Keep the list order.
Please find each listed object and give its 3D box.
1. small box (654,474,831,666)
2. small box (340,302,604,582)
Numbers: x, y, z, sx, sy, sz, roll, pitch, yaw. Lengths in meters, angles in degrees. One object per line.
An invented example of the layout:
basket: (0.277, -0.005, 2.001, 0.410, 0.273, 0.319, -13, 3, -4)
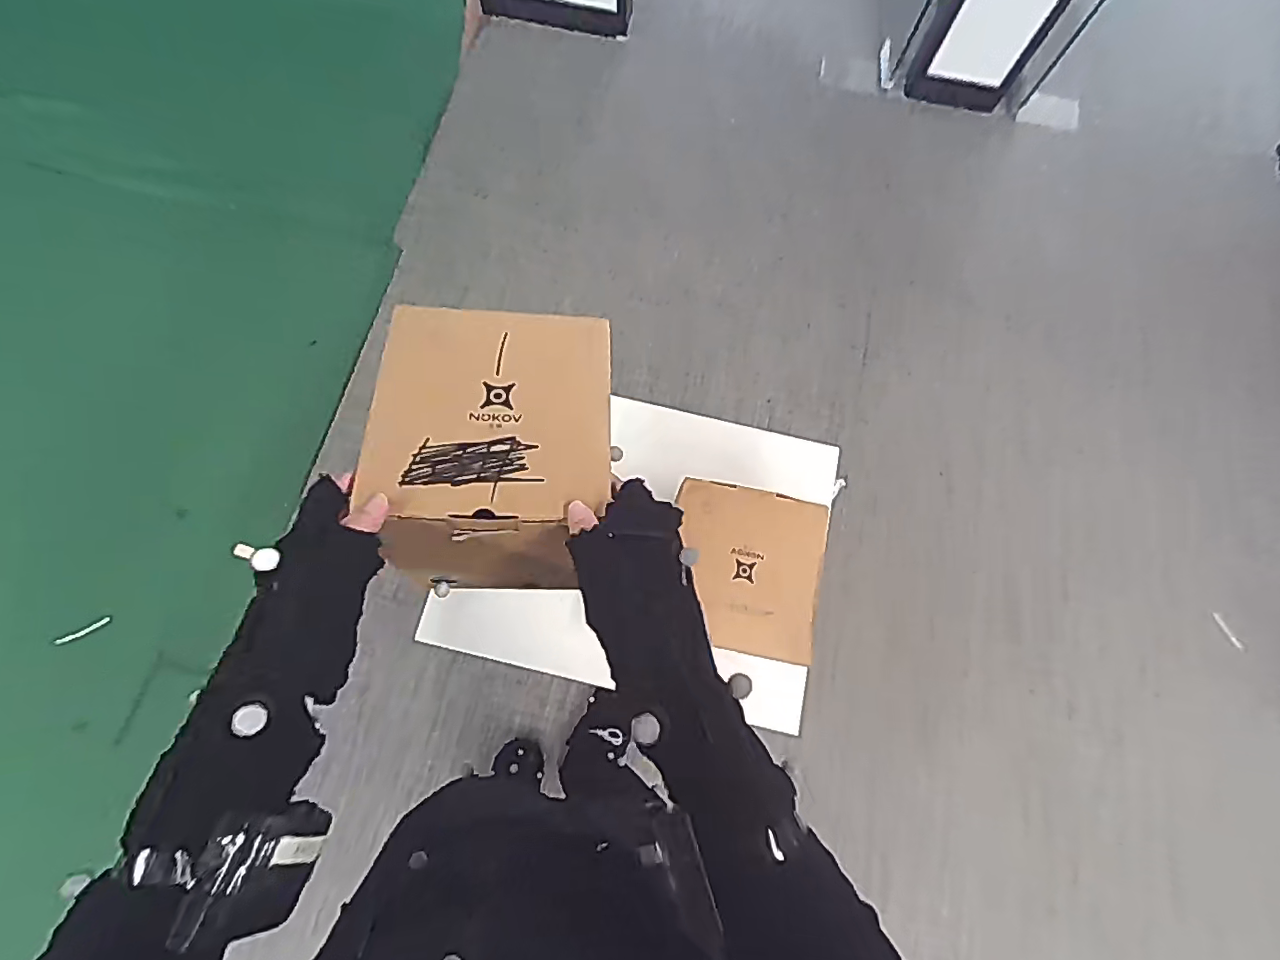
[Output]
small box: (0.110, 0.110, 0.641, 0.168, 0.176, 0.179, 10, 76, 3)
small box: (-0.115, -0.019, 0.448, 0.168, 0.176, 0.179, 1, 63, -6)
